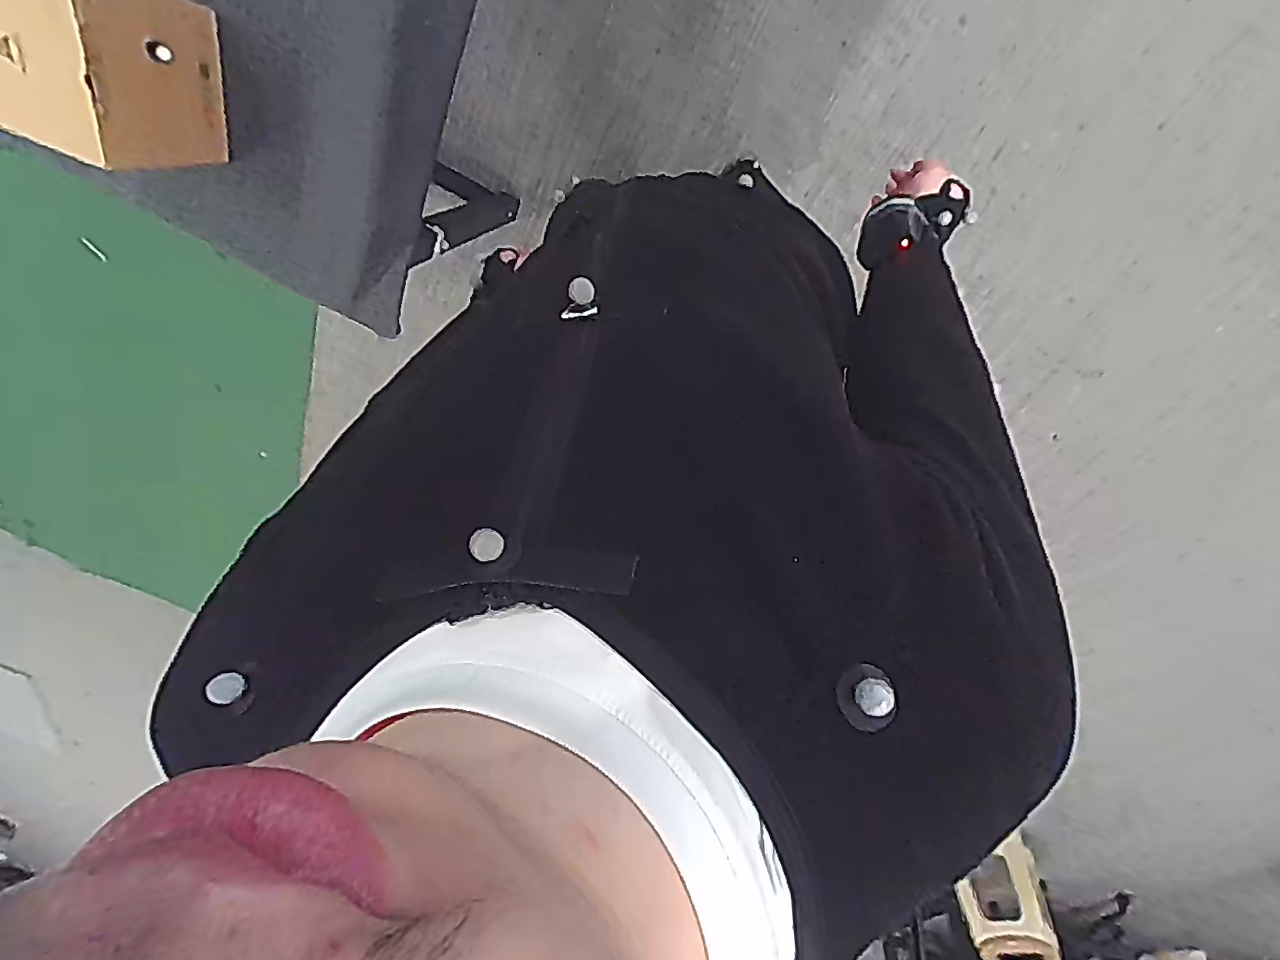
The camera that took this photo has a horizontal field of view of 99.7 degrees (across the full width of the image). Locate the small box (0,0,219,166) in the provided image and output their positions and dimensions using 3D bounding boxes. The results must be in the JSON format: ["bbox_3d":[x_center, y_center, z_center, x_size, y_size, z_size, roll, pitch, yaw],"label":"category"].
[{"bbox_3d":[-0.610,-0.474,0.600,0.179,0.176,0.168,22,123,-3],"label":"small box"}]
